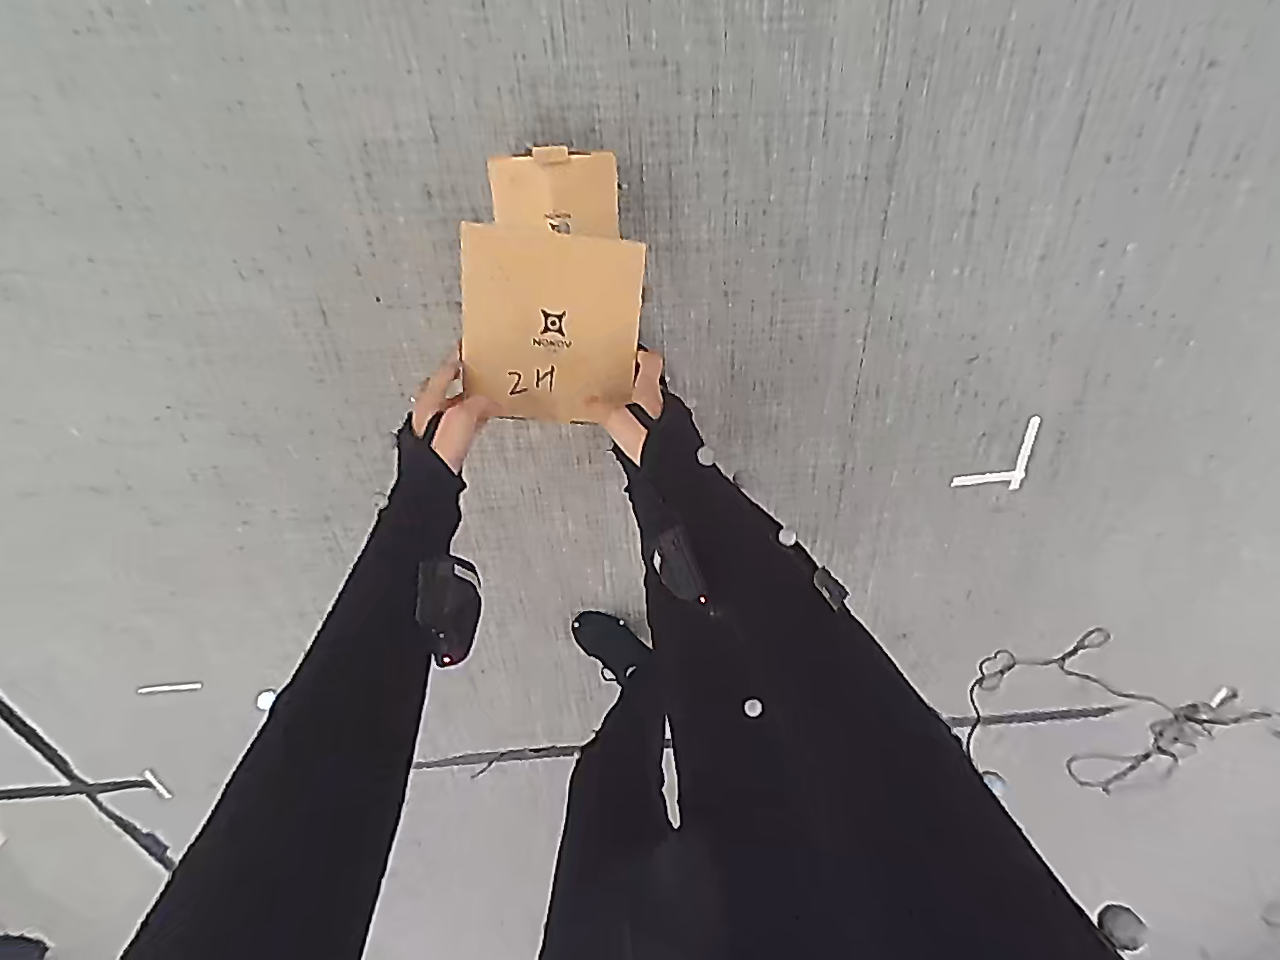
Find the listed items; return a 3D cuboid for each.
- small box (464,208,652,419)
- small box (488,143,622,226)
[{"bbox_3d":[-0.088,-0.173,0.571,0.168,0.176,0.179,3,111,-8],"label":"small box"},{"bbox_3d":[-0.110,-0.377,0.776,0.168,0.176,0.179,-2,121,-1],"label":"small box"}]
